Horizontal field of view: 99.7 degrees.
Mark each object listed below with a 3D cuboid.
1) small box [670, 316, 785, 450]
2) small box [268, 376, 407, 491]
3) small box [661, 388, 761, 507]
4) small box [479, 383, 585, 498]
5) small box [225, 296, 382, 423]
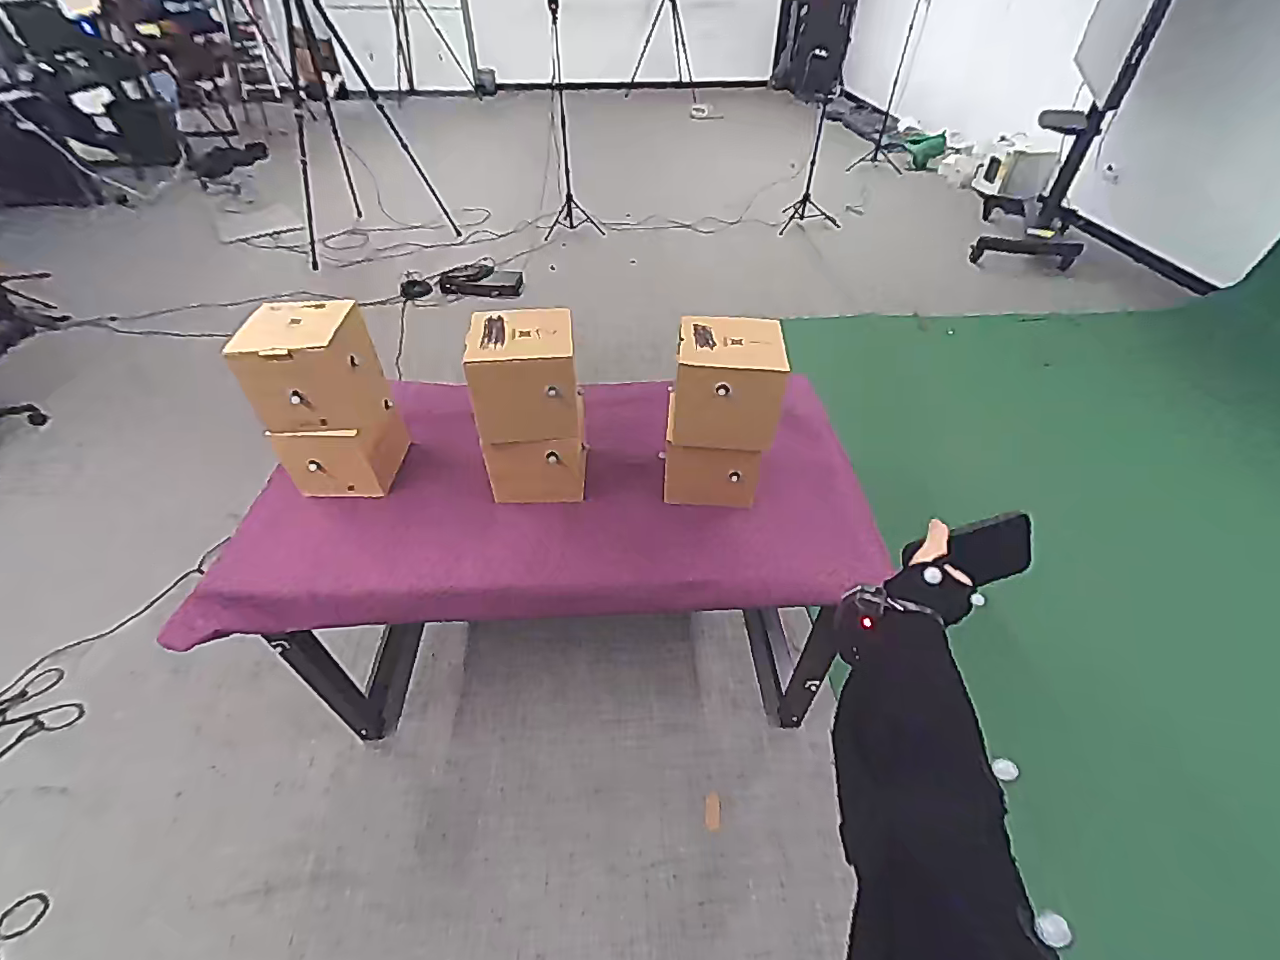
[{"bbox_3d":[0.147,-0.169,0.950,0.179,0.176,0.168,5,44,3],"label":"small box"},{"bbox_3d":[-0.595,-0.093,1.094,0.168,0.176,0.179,1,44,0],"label":"small box"},{"bbox_3d":[0.137,-0.063,1.075,0.179,0.176,0.168,4,44,5],"label":"small box"},{"bbox_3d":[-0.204,-0.077,1.081,0.179,0.176,0.168,0,45,0],"label":"small box"},{"bbox_3d":[-0.593,-0.216,0.984,0.168,0.176,0.179,-2,45,-4],"label":"small box"}]
